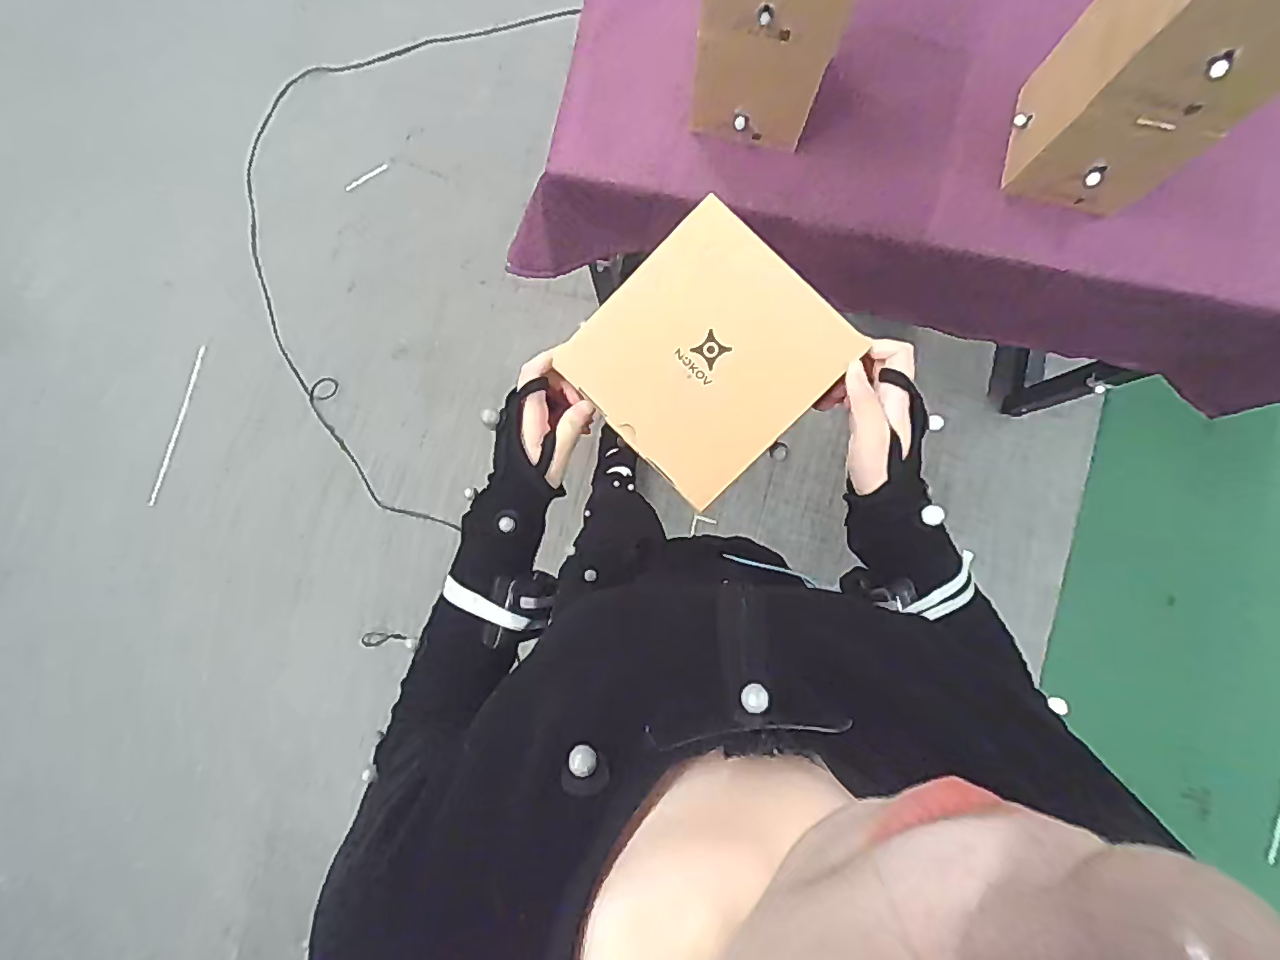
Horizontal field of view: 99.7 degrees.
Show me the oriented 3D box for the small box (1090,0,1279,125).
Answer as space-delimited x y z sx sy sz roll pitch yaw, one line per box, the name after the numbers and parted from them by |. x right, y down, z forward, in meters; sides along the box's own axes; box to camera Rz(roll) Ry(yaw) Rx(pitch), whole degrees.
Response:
0.618 -0.512 0.557 0.168 0.176 0.179 13 86 2 | small box

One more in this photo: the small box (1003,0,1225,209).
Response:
0.627 -0.498 0.722 0.168 0.176 0.179 14 87 2 | small box

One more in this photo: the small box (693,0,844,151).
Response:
0.173 -0.603 0.744 0.168 0.176 0.179 15 87 3 | small box
